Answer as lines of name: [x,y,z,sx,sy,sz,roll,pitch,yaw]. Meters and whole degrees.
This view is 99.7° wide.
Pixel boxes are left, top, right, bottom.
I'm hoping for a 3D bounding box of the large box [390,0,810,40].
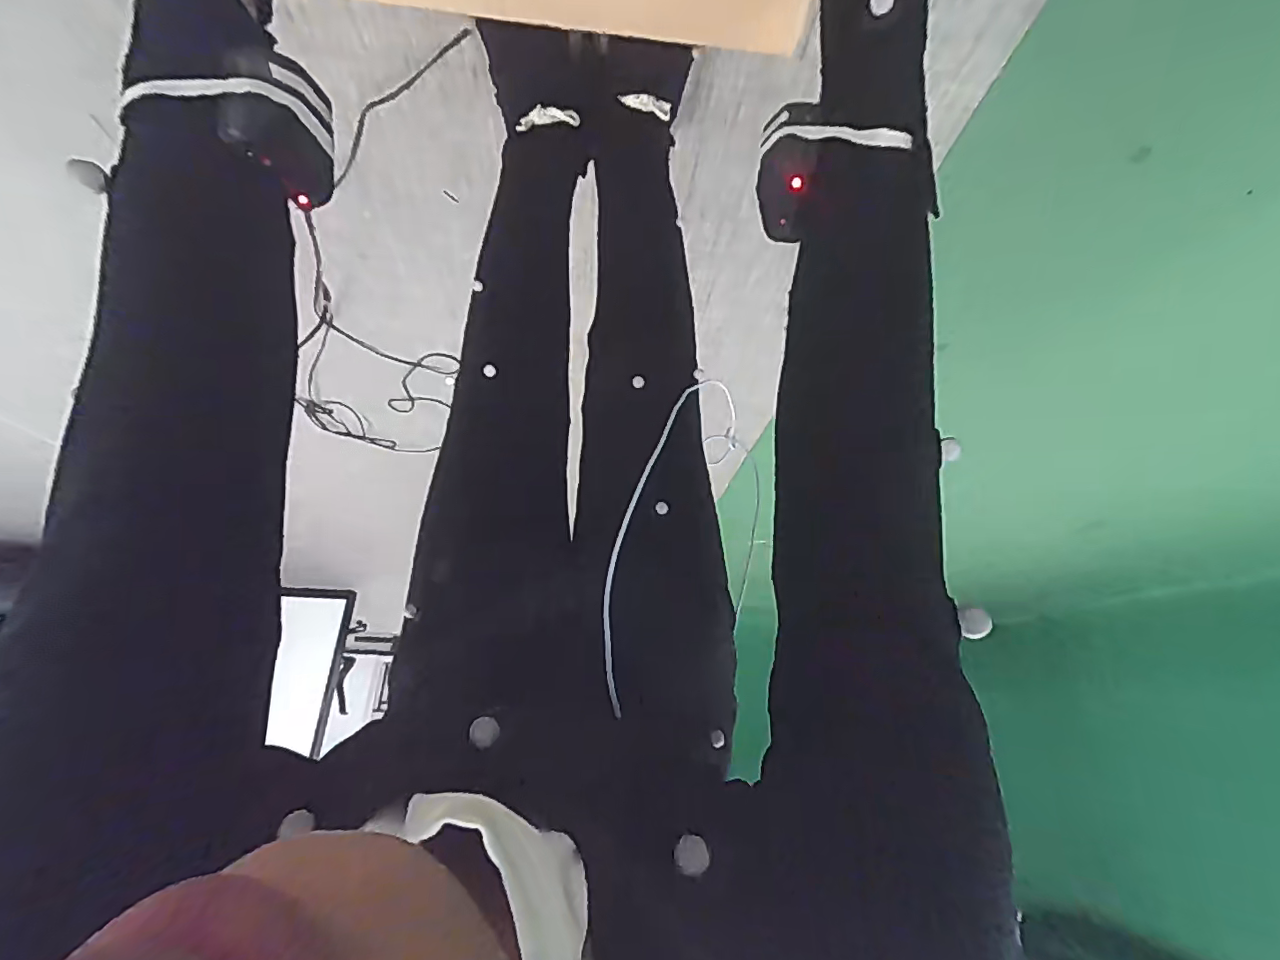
large box: [-0.050,-0.575,0.360,0.408,0.320,0.320,4,159,-4]
